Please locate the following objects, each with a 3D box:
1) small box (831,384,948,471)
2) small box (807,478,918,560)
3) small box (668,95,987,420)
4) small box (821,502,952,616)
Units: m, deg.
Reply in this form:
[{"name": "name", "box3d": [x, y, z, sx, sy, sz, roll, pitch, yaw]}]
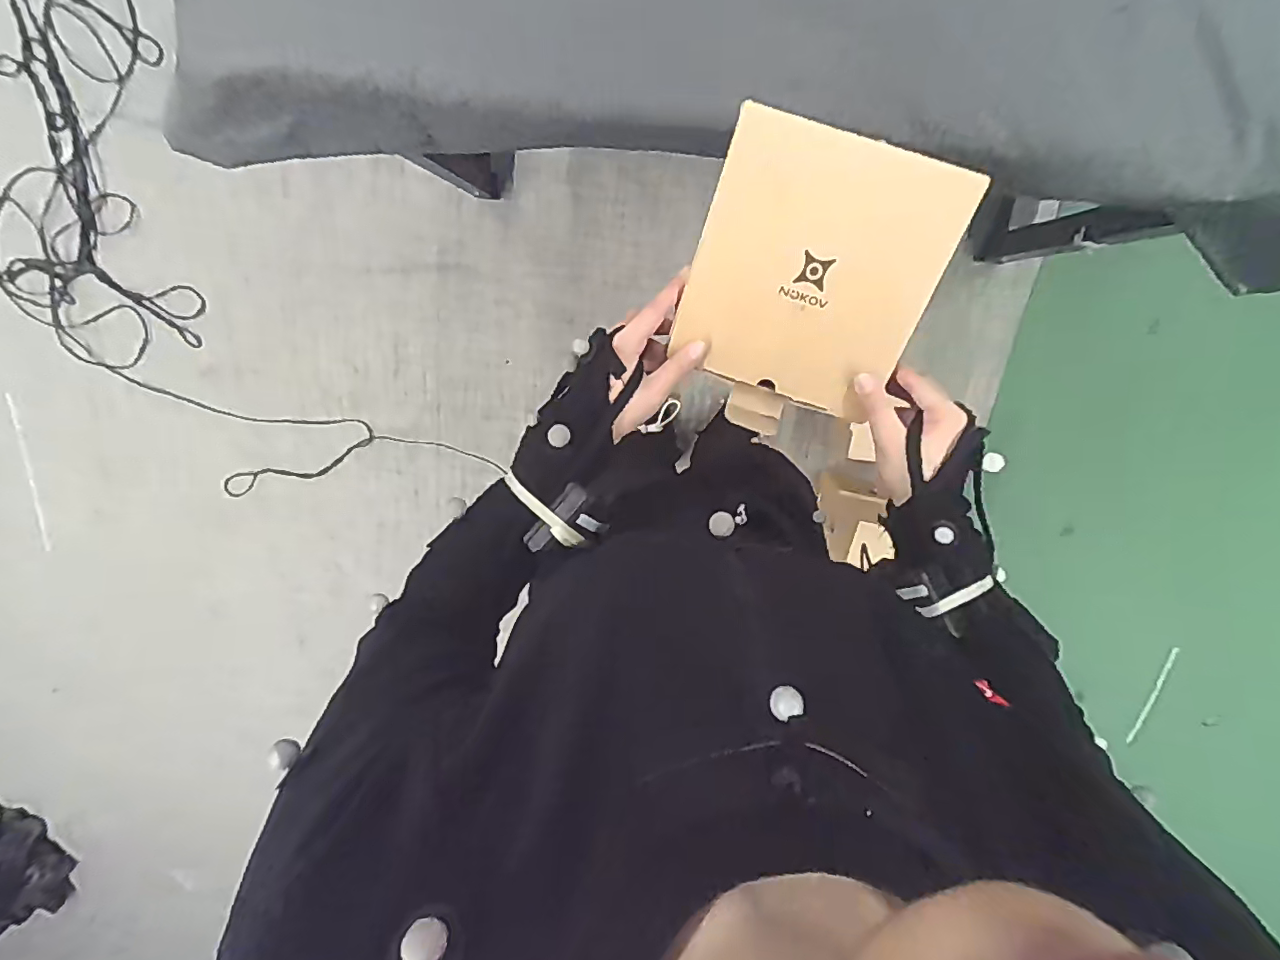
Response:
[{"name": "small box", "box3d": [0.547, -0.129, 1.215, 0.179, 0.176, 0.168, 7, 106, 3]}, {"name": "small box", "box3d": [0.519, 0.105, 1.286, 0.179, 0.176, 0.168, 13, 106, 2]}, {"name": "small box", "box3d": [0.130, -0.176, 0.447, 0.168, 0.176, 0.179, 18, 115, 1]}, {"name": "small box", "box3d": [0.502, 0.157, 1.131, 0.179, 0.176, 0.168, 12, 106, 2]}]
